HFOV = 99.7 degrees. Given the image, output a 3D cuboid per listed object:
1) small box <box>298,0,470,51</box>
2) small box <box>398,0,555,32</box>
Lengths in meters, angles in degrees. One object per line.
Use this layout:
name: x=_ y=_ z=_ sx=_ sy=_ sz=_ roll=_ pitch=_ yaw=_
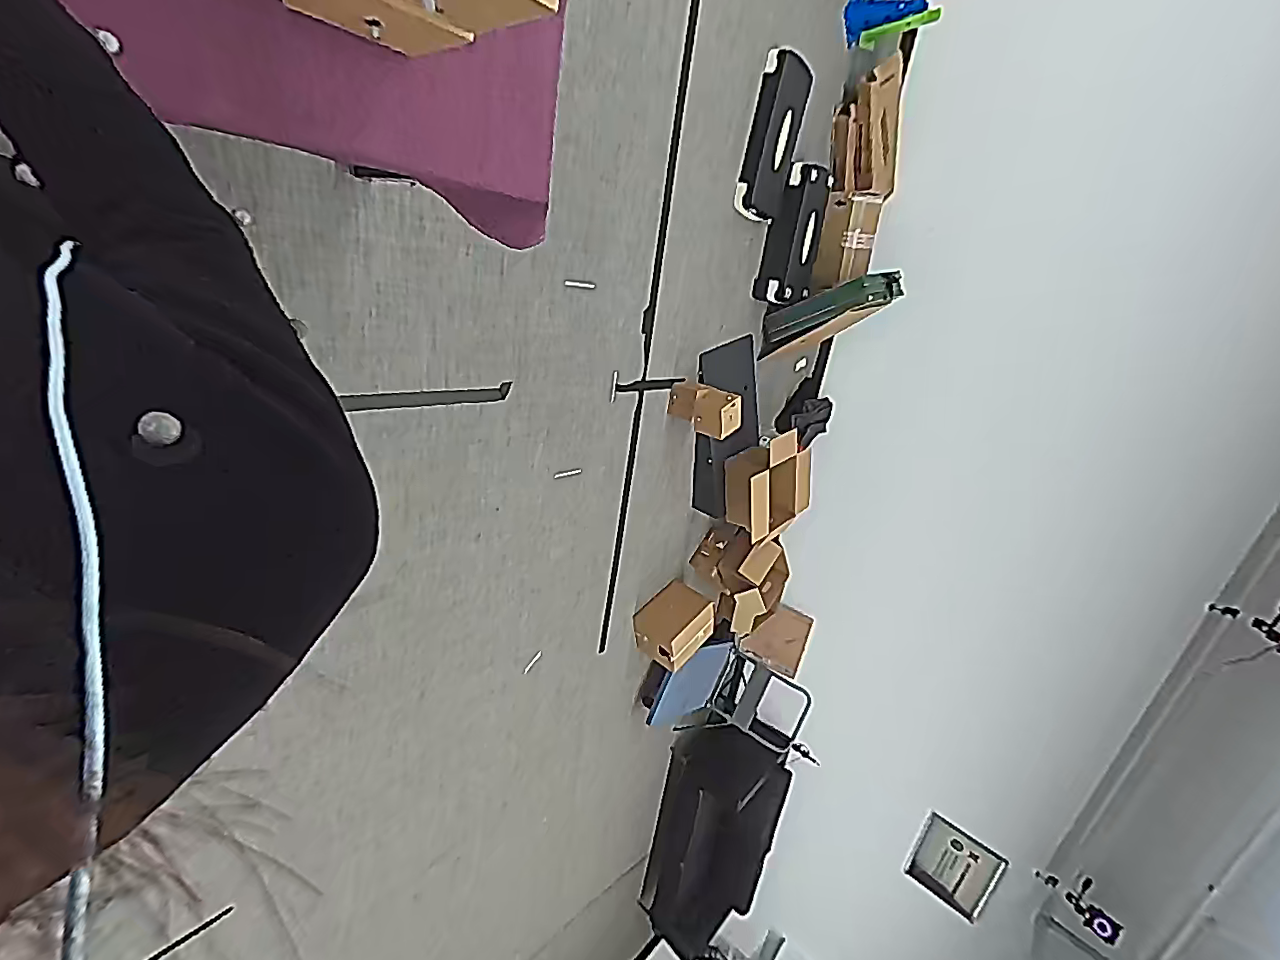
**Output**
small box: x=-0.317 y=-0.651 z=0.648 sx=0.168 sy=0.176 sz=0.179 roll=-15 pitch=122 yaw=-47
small box: x=-0.194 y=-0.602 z=0.550 sx=0.168 sy=0.176 sz=0.179 roll=-14 pitch=122 yaw=-47
